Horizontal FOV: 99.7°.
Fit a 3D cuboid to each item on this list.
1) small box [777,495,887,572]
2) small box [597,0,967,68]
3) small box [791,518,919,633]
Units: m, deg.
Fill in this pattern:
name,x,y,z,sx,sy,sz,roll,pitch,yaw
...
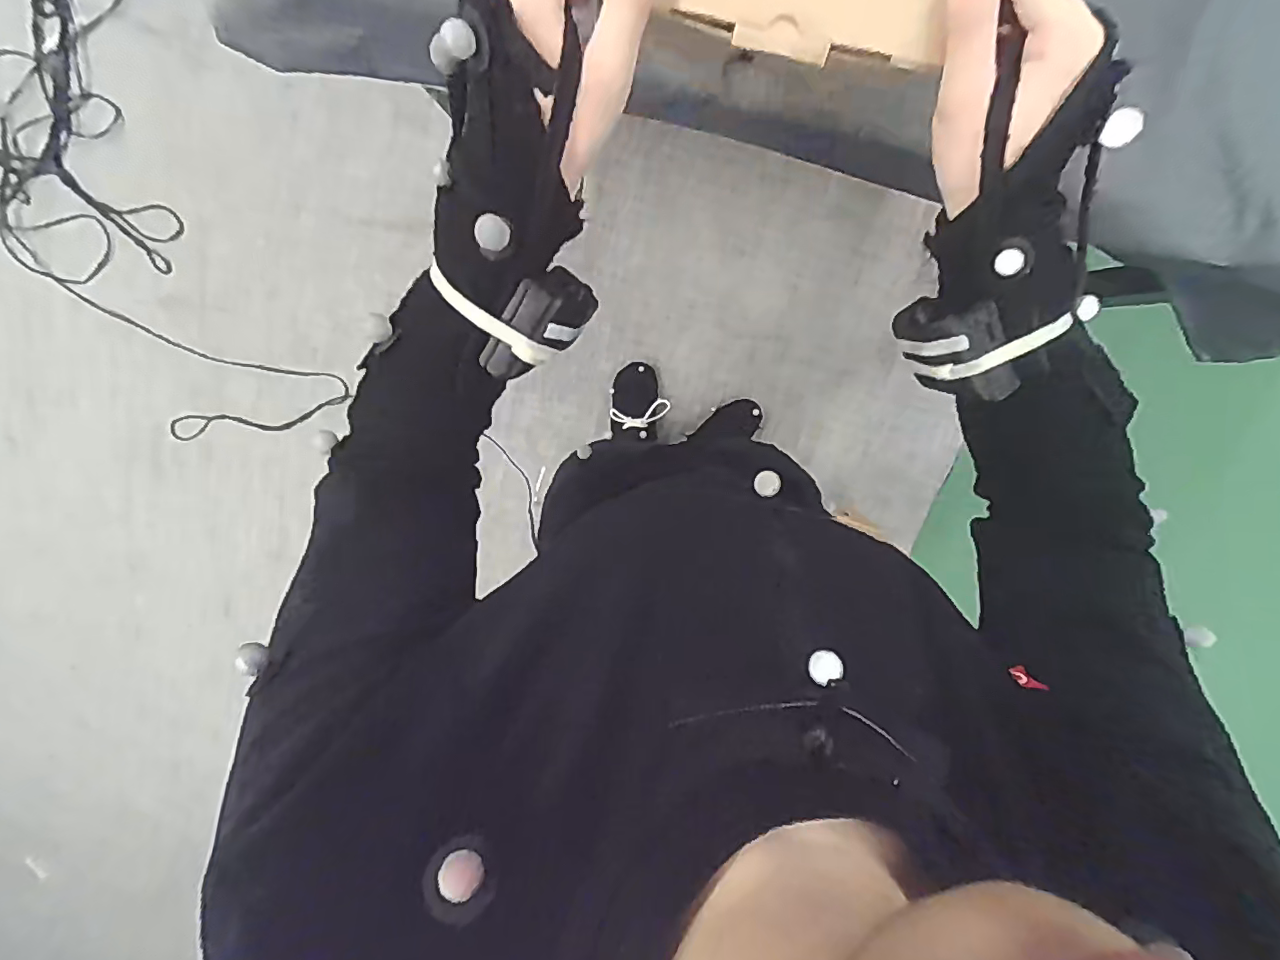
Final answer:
name,x,y,z,sx,sy,sz,roll,pitch,yaw
small box,0.462,0.152,1.330,0.179,0.176,0.168,20,103,-2
small box,0.069,-0.315,0.254,0.168,0.176,0.179,5,125,-8
small box,0.455,0.198,1.172,0.179,0.176,0.168,20,102,-3
